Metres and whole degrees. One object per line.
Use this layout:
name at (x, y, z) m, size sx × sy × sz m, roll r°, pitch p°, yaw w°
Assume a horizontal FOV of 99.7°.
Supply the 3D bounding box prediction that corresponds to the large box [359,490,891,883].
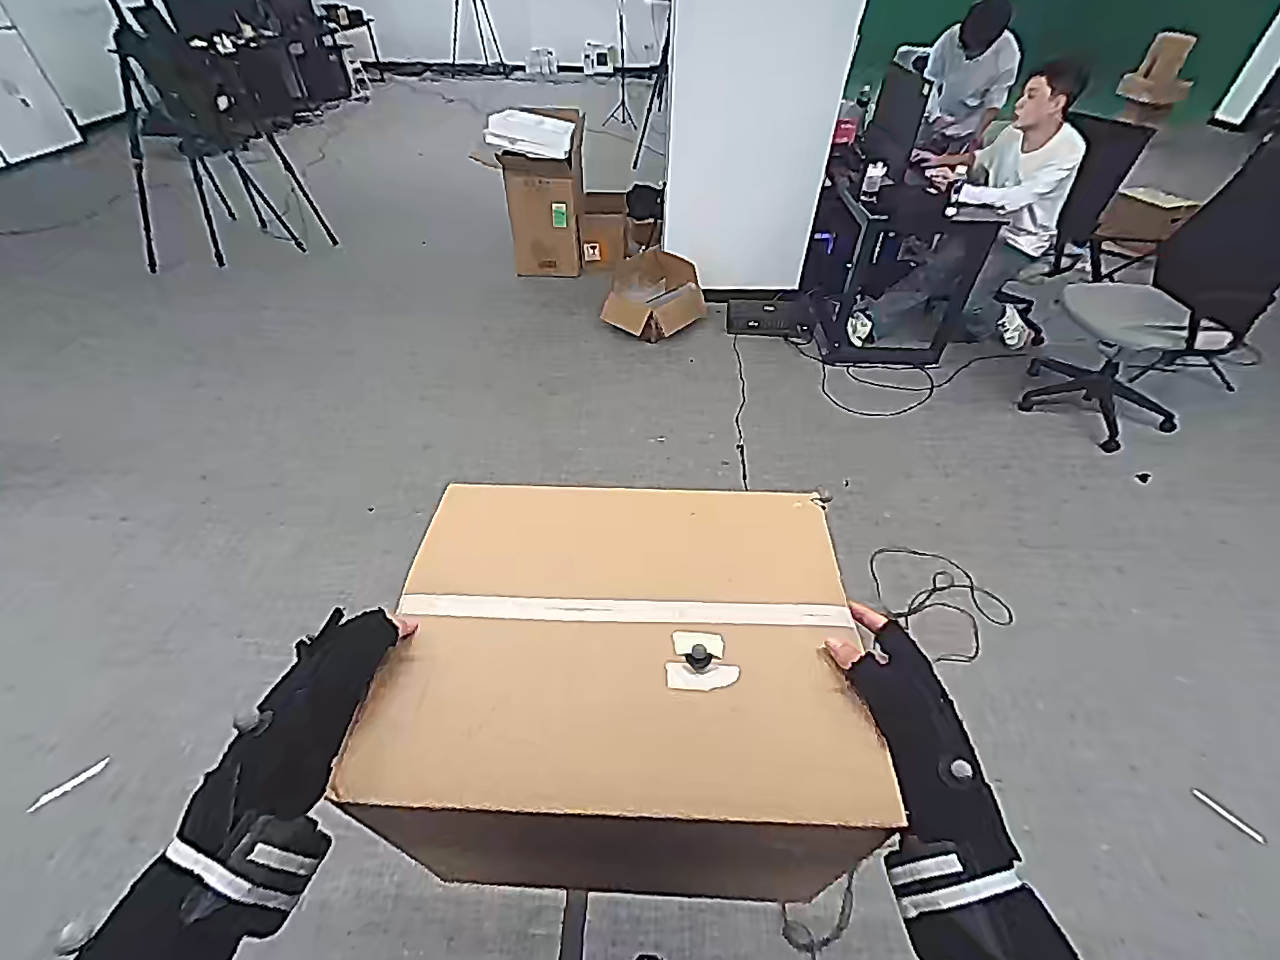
large box at (-0.010, 0.229, 0.605) m, size 0.408 × 0.320 × 0.320 m, roll 2°, pitch 45°, yaw 2°
